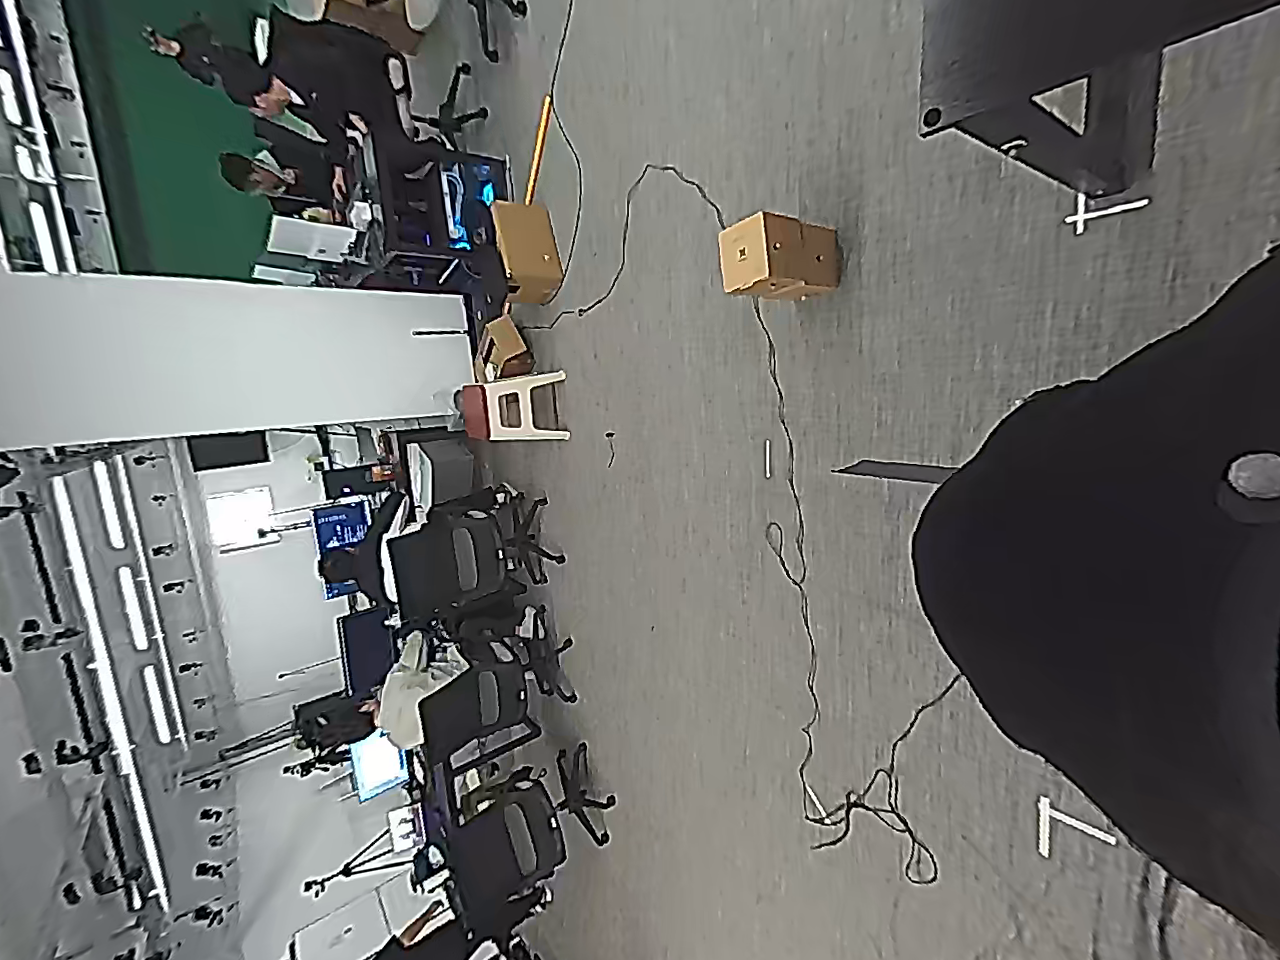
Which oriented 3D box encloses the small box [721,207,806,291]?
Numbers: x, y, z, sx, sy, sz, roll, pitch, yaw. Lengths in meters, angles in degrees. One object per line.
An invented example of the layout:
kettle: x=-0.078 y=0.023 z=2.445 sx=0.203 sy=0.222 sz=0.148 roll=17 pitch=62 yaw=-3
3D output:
small box: x=0.355 y=-0.647 z=1.540 sx=0.168 sy=0.176 sz=0.179 roll=-1 pitch=97 yaw=53

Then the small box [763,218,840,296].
small box: x=0.485 y=-0.666 z=1.636 sx=0.168 sy=0.176 sz=0.179 roll=5 pitch=103 yaw=53
